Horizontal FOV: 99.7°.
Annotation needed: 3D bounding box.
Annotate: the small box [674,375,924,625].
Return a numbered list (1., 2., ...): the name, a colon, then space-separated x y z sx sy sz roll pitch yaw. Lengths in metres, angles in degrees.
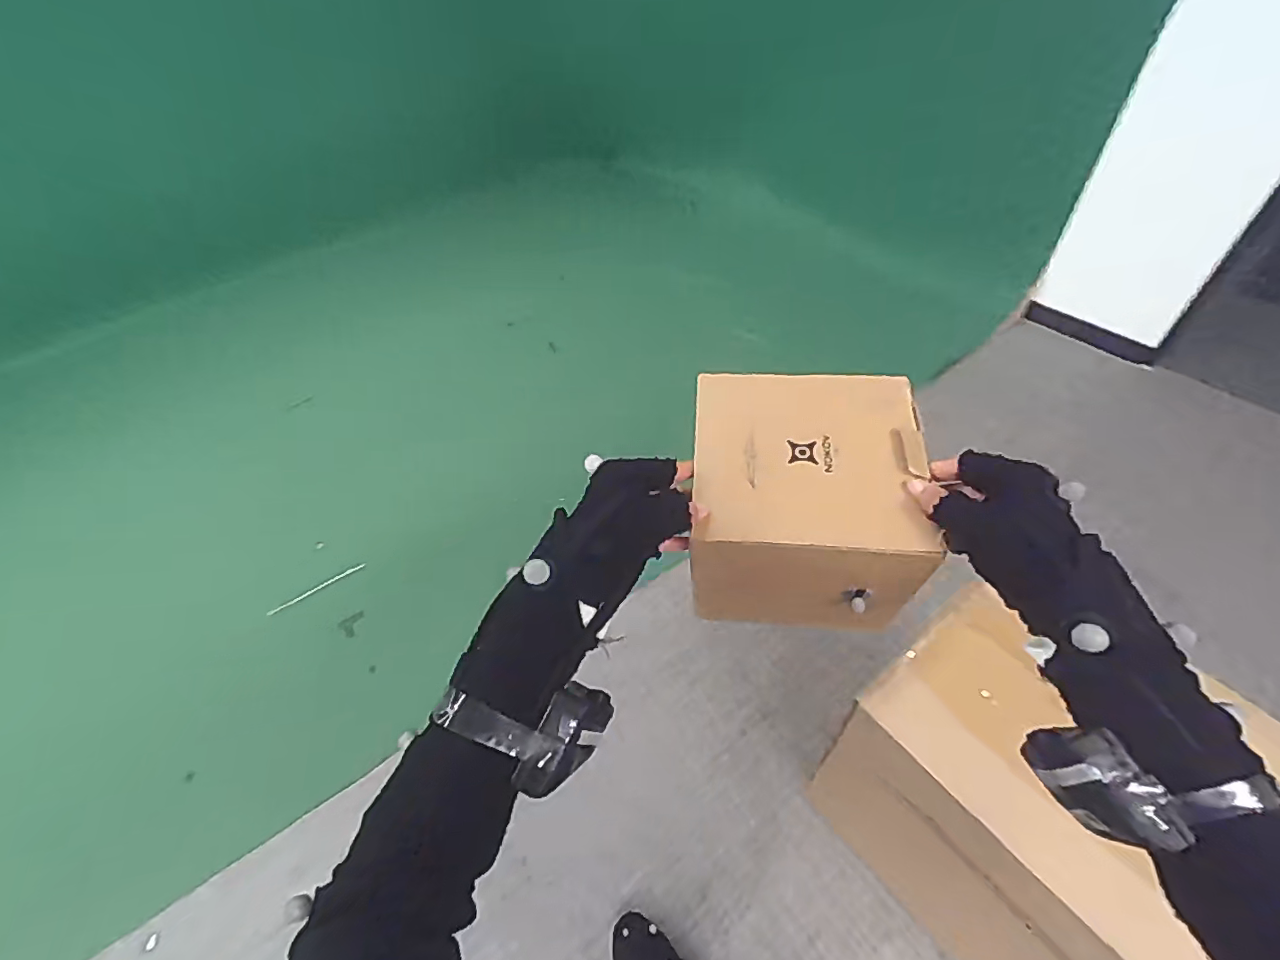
1. small box: 0.126 0.024 0.491 0.179 0.176 0.168 0 55 8
